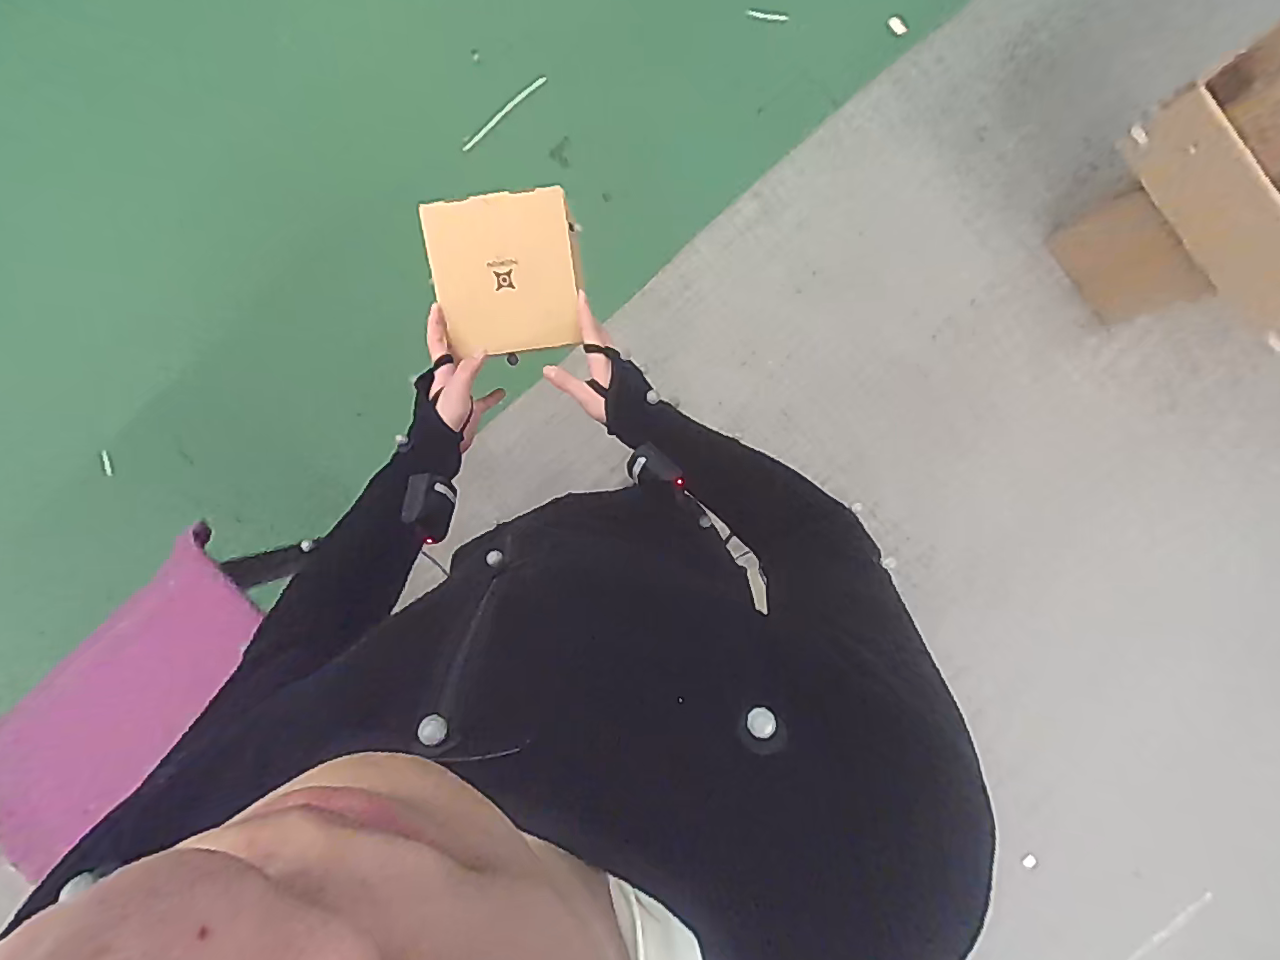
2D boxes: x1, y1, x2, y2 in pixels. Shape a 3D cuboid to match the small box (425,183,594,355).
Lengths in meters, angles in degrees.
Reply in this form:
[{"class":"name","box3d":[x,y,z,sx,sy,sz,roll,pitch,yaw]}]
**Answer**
[{"class":"small box","box3d":[-0.154,-0.263,0.707,0.168,0.176,0.179,-7,104,0]}]
